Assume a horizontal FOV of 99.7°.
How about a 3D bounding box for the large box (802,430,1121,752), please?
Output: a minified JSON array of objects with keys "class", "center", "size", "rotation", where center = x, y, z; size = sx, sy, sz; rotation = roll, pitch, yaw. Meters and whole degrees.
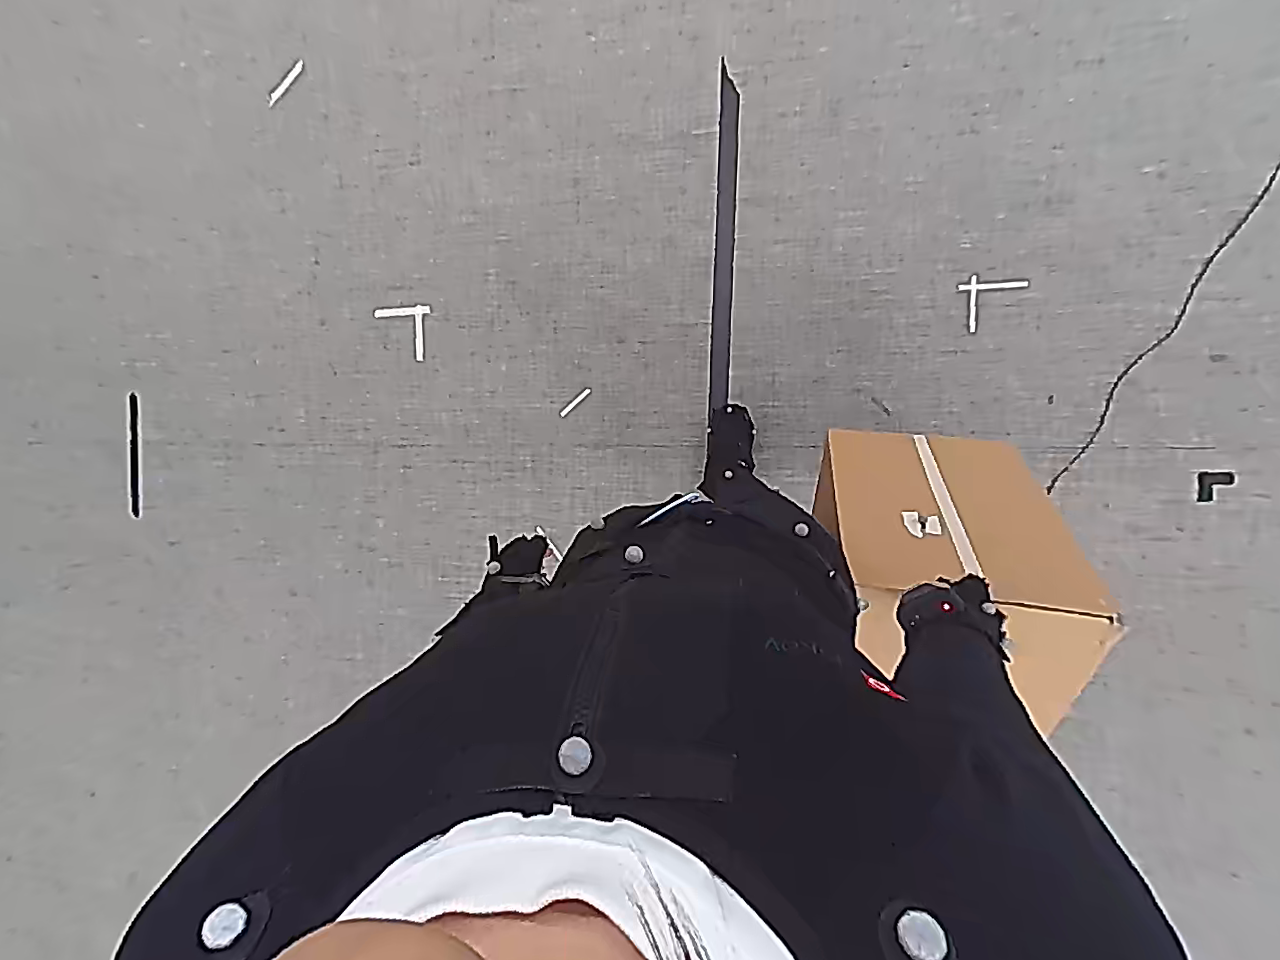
[{"class":"large box","center":[0.457,0.159,0.901],"size":[0.320,0.408,0.320],"rotation":[5,126,11]}]
